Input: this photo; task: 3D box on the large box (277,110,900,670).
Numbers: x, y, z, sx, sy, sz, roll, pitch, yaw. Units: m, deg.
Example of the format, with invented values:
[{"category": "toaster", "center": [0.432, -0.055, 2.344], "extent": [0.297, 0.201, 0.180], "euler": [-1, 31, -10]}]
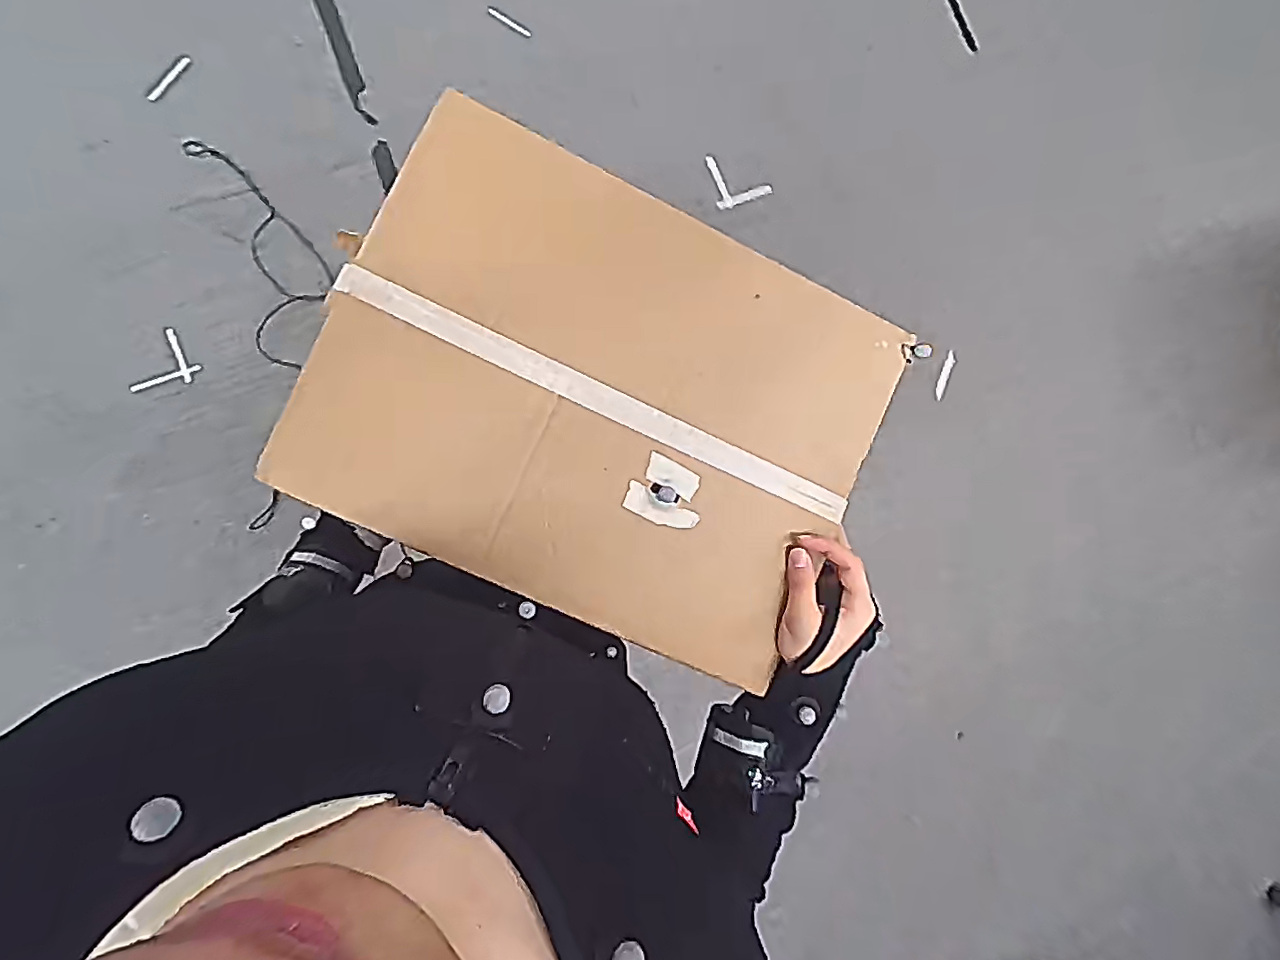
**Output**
[{"category": "large box", "center": [-0.043, -0.061, 0.561], "extent": [0.408, 0.320, 0.320], "euler": [24, 88, -8]}]
